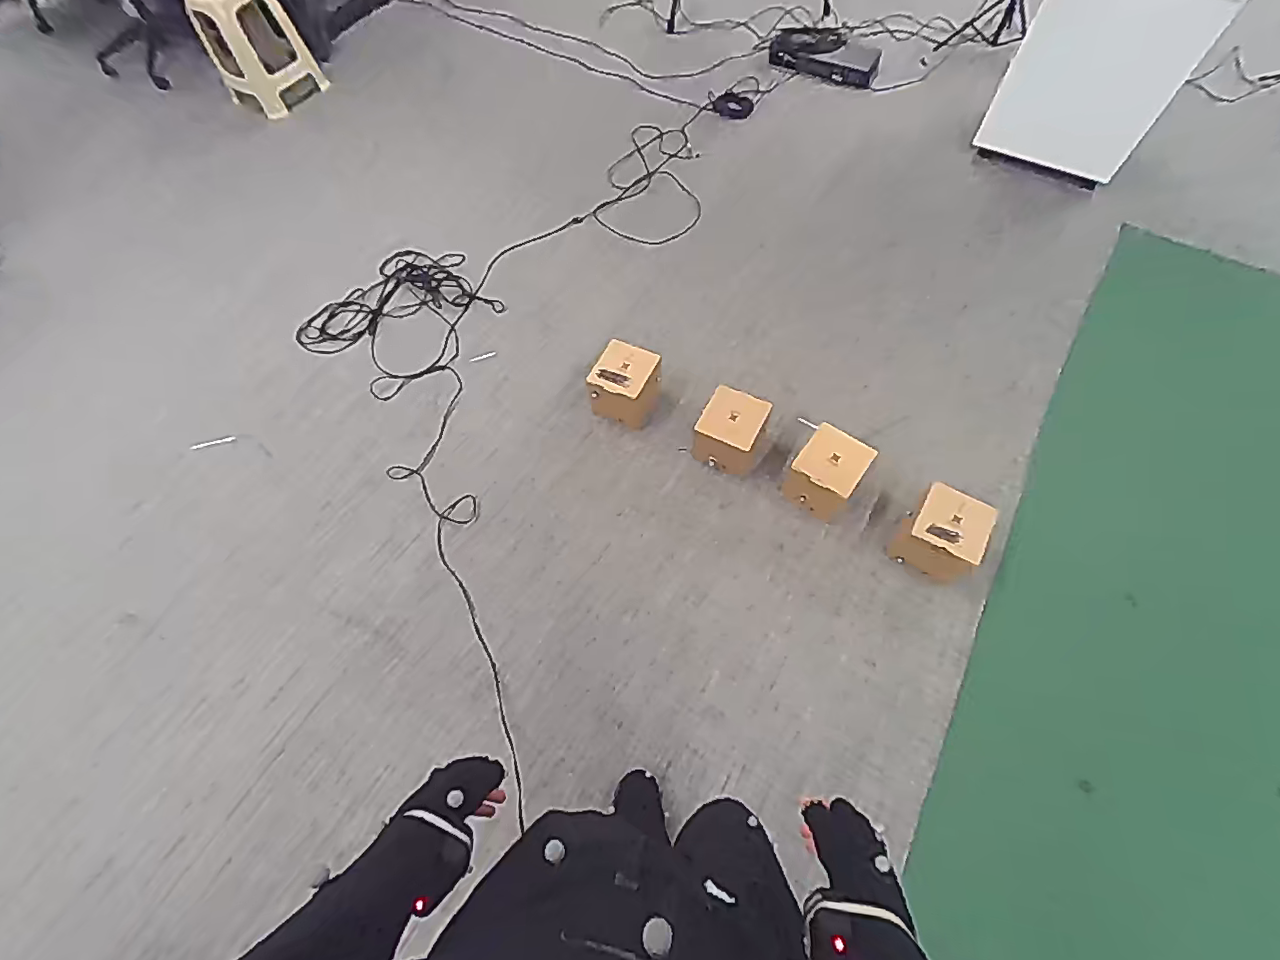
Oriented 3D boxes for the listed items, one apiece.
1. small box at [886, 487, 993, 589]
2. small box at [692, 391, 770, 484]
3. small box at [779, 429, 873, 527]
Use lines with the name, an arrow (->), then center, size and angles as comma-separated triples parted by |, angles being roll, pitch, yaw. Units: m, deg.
small box -> 0.768, 0.157, 1.406 | 0.168, 0.176, 0.179 | 29, 66, 16
small box -> 0.257, -0.120, 1.567 | 0.168, 0.176, 0.179 | 24, 68, 16
small box -> 0.506, -0.001, 1.498 | 0.168, 0.176, 0.179 | 34, 69, 17
